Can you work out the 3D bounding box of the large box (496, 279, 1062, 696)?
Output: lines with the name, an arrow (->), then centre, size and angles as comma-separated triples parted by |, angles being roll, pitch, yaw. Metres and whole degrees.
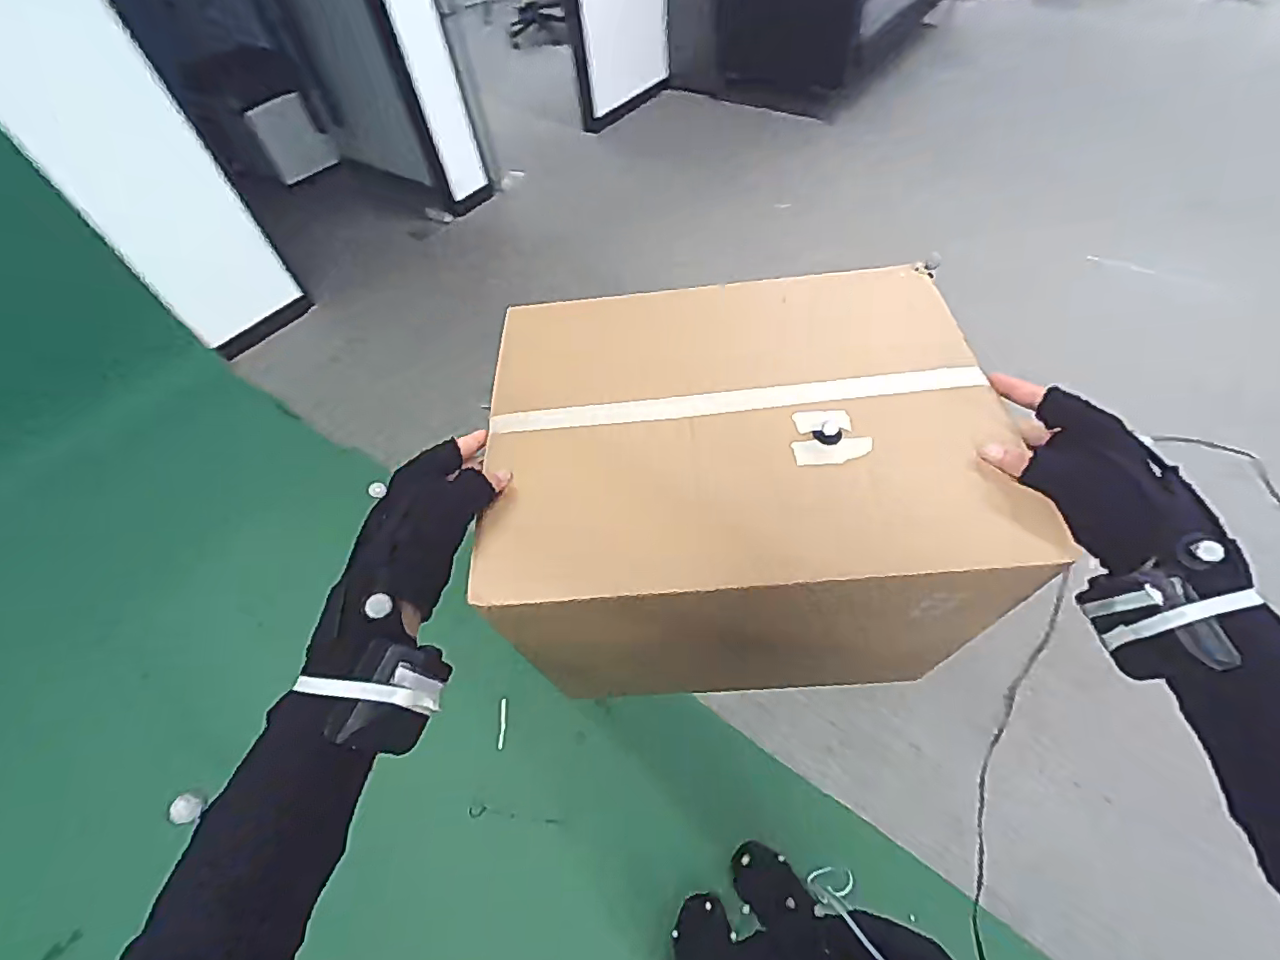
large box -> 0.097, 0.026, 0.581 | 0.408, 0.320, 0.320 | -4, 57, 3
